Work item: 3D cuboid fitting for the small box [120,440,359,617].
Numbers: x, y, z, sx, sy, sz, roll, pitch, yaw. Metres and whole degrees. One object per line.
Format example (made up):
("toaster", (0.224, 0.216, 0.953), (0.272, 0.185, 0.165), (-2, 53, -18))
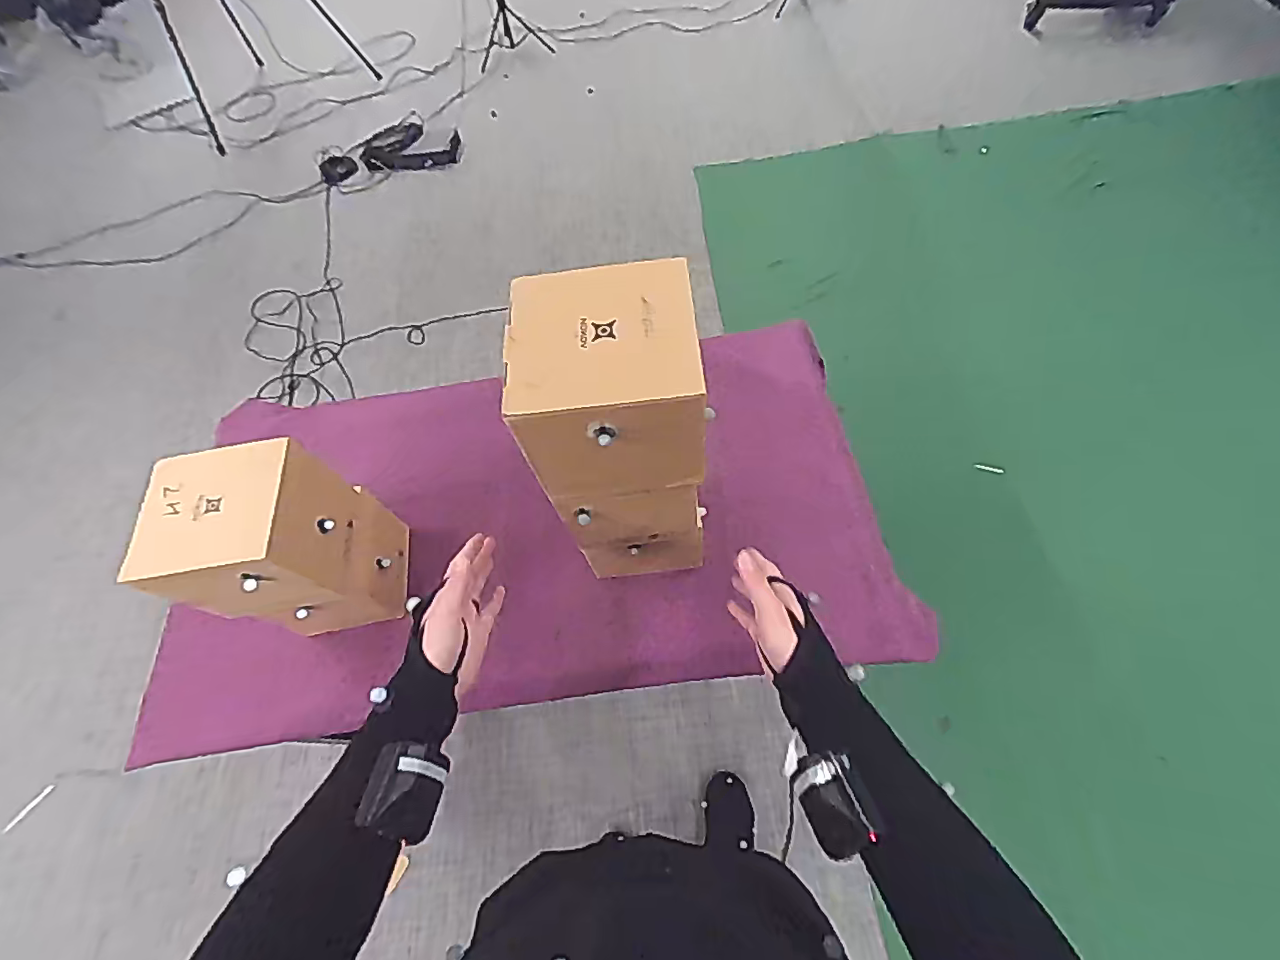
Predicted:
("small box", (-0.501, 0.070, 0.711), (0.179, 0.176, 0.168), (-10, 61, 1))

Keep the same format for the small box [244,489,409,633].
("small box", (-0.490, 0.135, 0.863), (0.179, 0.176, 0.168), (-11, 62, 1))

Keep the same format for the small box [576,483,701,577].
("small box", (0.000, 0.047, 0.856), (0.179, 0.176, 0.168), (-7, 61, 2))

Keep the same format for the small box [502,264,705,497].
("small box", (-0.027, -0.092, 0.560), (0.179, 0.176, 0.168), (-5, 62, 3))
